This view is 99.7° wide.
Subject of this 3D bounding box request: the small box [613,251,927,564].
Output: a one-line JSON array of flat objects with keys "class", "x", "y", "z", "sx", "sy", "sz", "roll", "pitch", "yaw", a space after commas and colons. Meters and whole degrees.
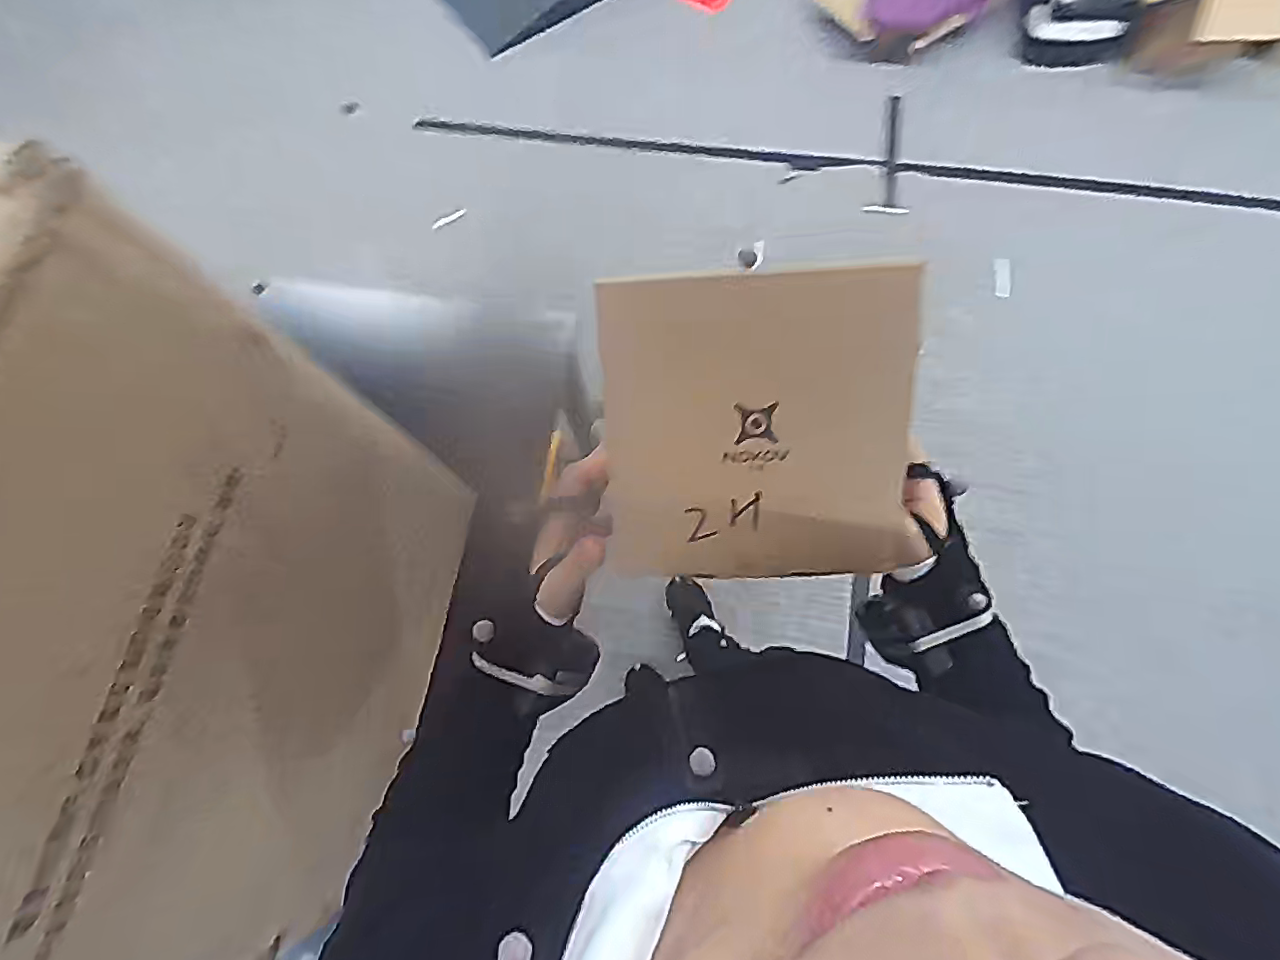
[{"class": "small box", "x": 0.072, "y": -0.057, "z": 0.380, "sx": 0.168, "sy": 0.176, "sz": 0.179, "roll": 0, "pitch": 108, "yaw": 5}]
